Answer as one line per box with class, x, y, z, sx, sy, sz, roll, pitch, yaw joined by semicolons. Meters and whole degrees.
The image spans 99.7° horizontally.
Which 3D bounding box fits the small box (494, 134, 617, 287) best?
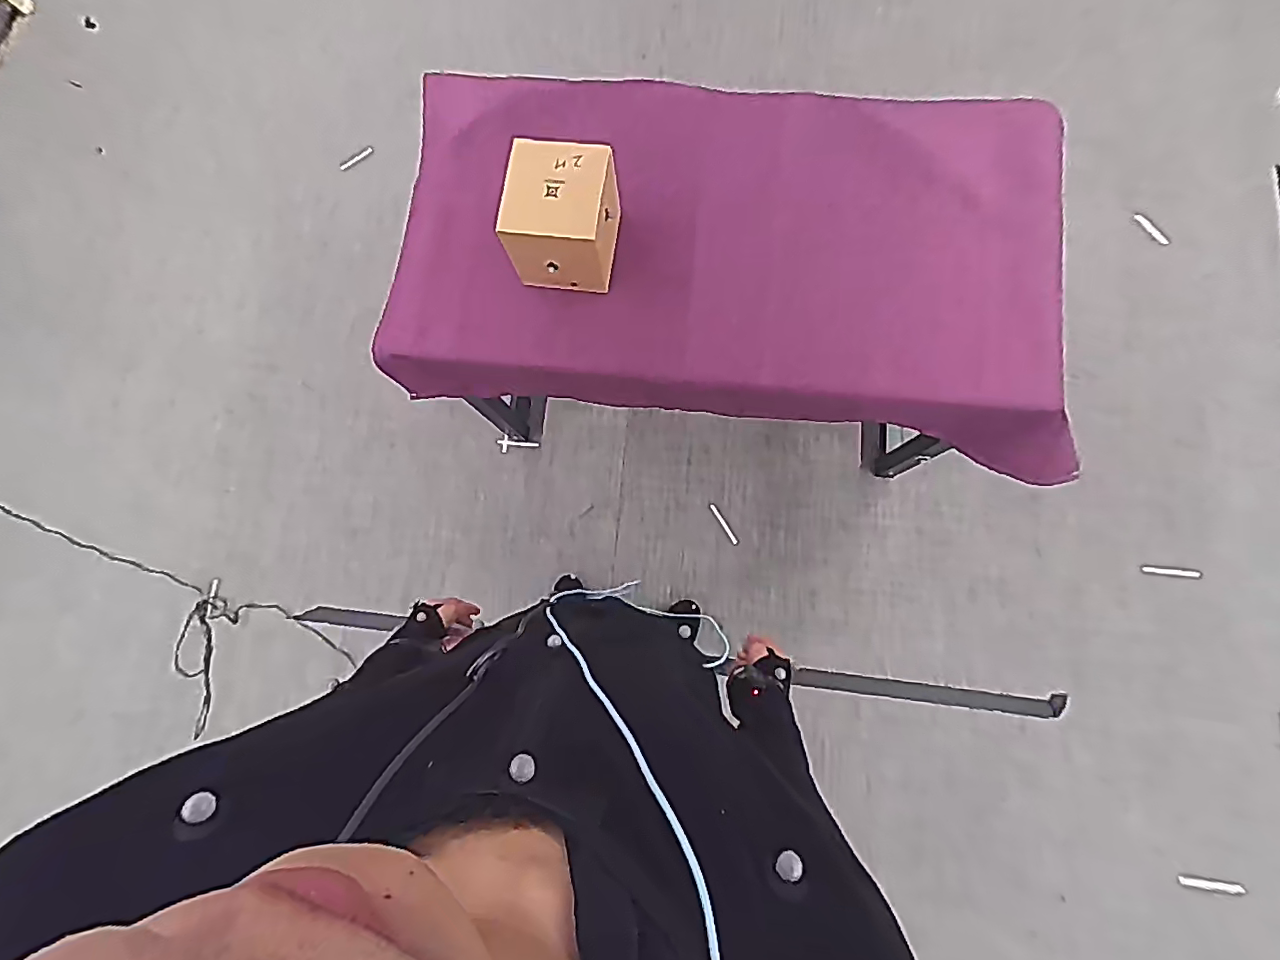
small box;-0.139;-0.464;0.954;0.168;0.176;0.179;8;81;4
